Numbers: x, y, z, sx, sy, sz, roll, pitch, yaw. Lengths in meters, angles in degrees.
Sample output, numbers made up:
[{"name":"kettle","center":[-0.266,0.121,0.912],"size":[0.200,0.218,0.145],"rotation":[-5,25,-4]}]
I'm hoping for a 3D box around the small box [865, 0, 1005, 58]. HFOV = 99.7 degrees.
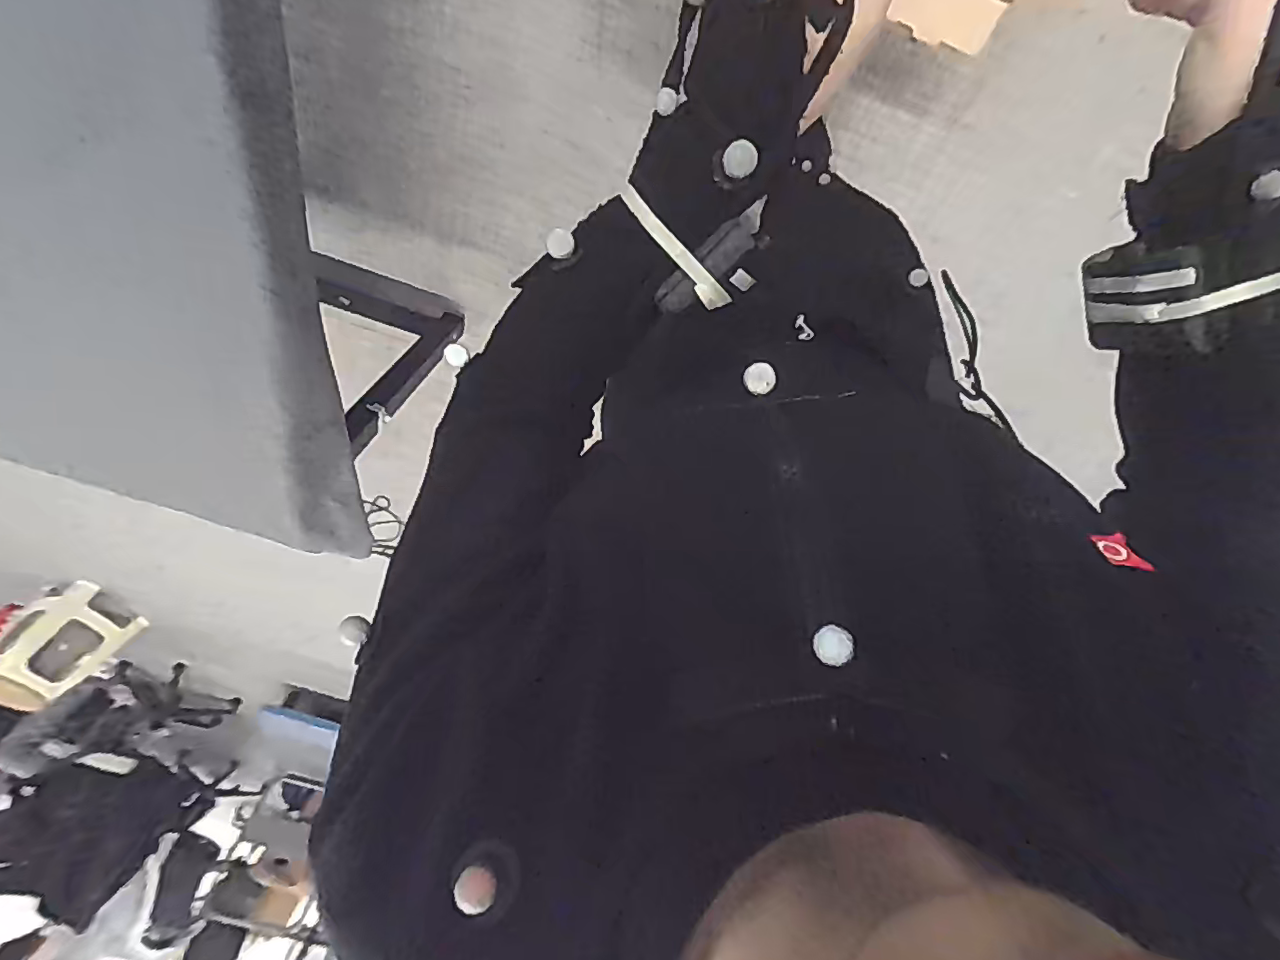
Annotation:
[{"name":"small box","center":[0.457,-0.769,0.802],"size":[0.168,0.176,0.179],"rotation":[19,132,-7]}]
